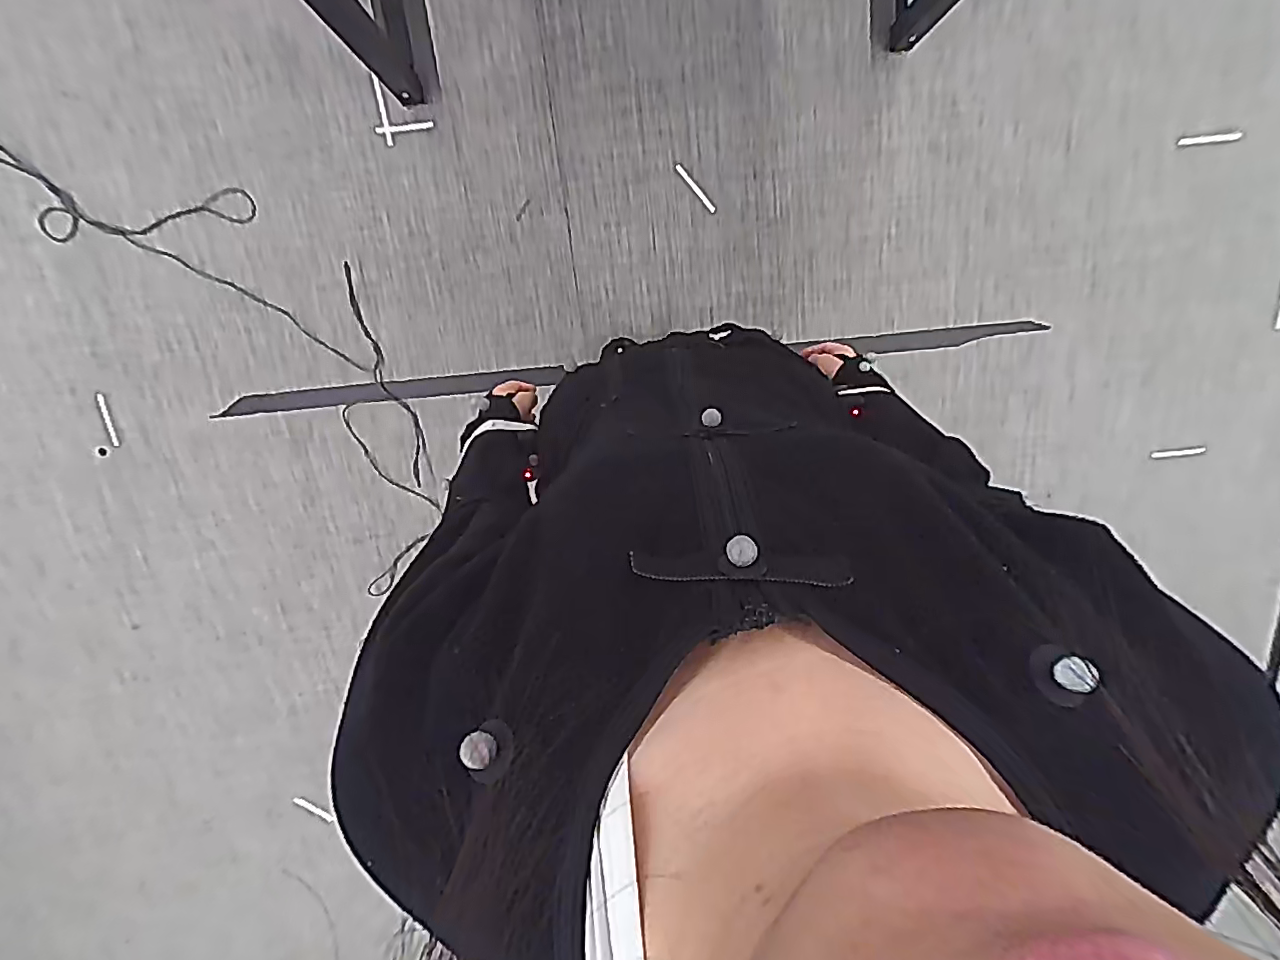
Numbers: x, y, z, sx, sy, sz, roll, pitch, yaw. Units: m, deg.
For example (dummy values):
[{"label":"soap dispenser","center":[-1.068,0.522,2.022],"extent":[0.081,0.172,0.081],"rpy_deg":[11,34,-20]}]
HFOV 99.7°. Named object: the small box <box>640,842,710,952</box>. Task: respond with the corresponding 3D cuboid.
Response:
[{"label":"small box","center":[0.096,1.178,1.534],"extent":[0.168,0.176,0.179],"rpy_deg":[-11,105,0]}]
